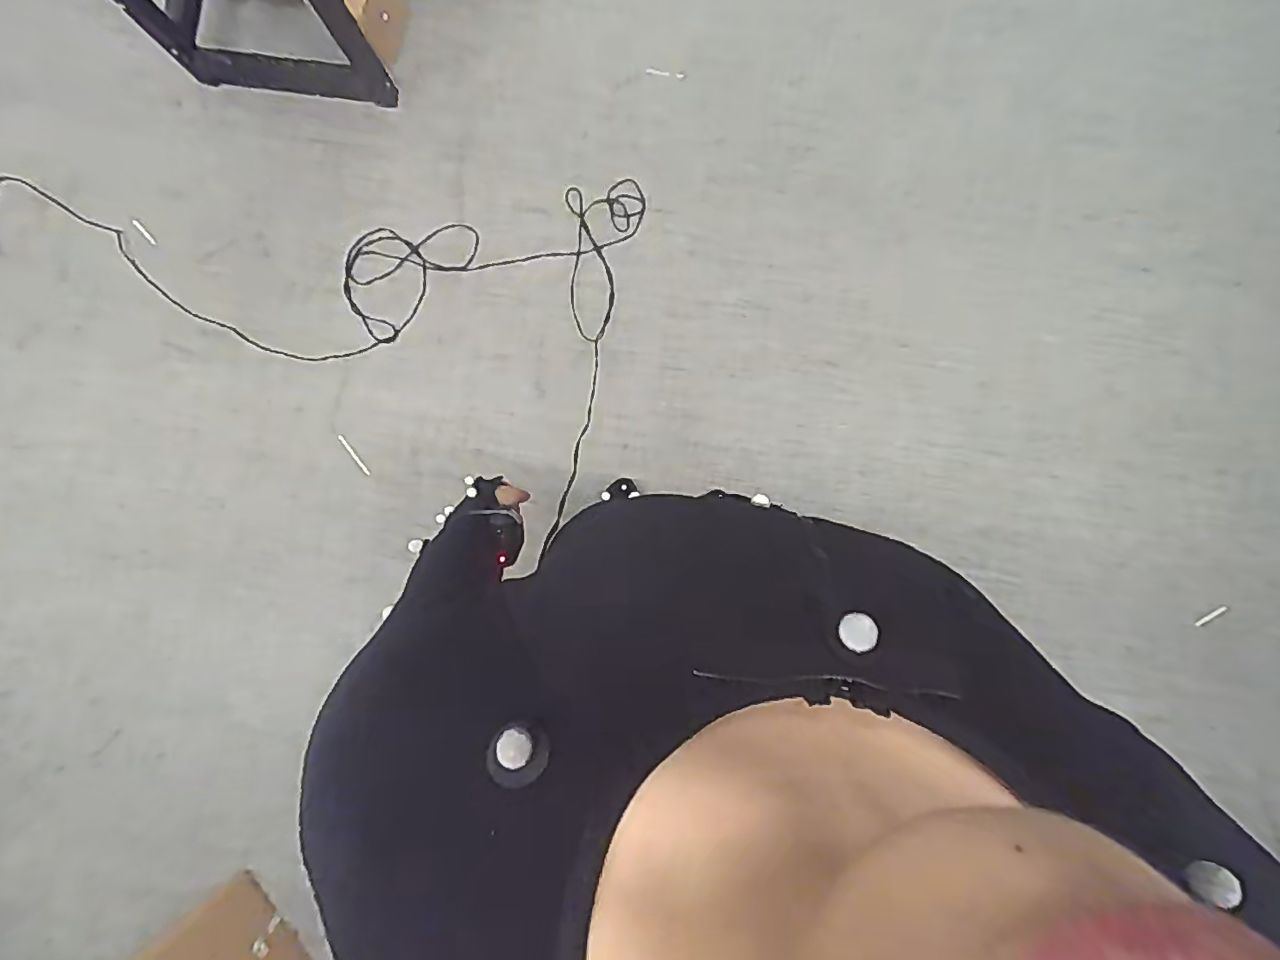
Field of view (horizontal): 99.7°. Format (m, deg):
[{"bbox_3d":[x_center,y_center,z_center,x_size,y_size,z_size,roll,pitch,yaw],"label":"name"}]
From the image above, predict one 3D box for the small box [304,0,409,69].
[{"bbox_3d":[-0.760,-1.276,1.470,0.168,0.176,0.179,21,89,1],"label":"small box"}]
